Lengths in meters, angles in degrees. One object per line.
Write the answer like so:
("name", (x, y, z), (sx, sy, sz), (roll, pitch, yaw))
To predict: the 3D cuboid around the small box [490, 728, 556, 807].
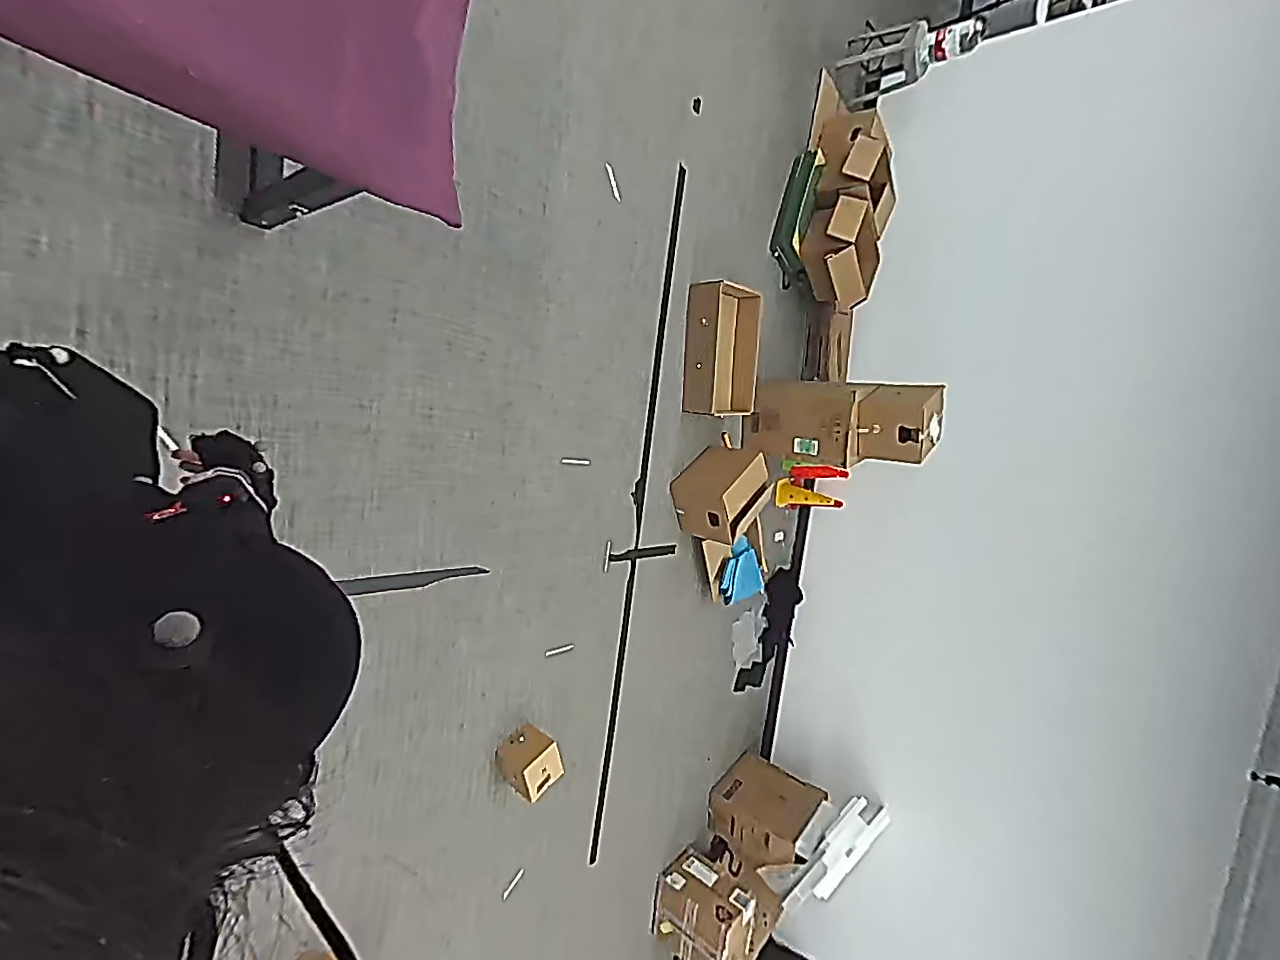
("small box", (-0.456, 1.110, 2.103), (0.168, 0.176, 0.179), (-30, 121, -44))
